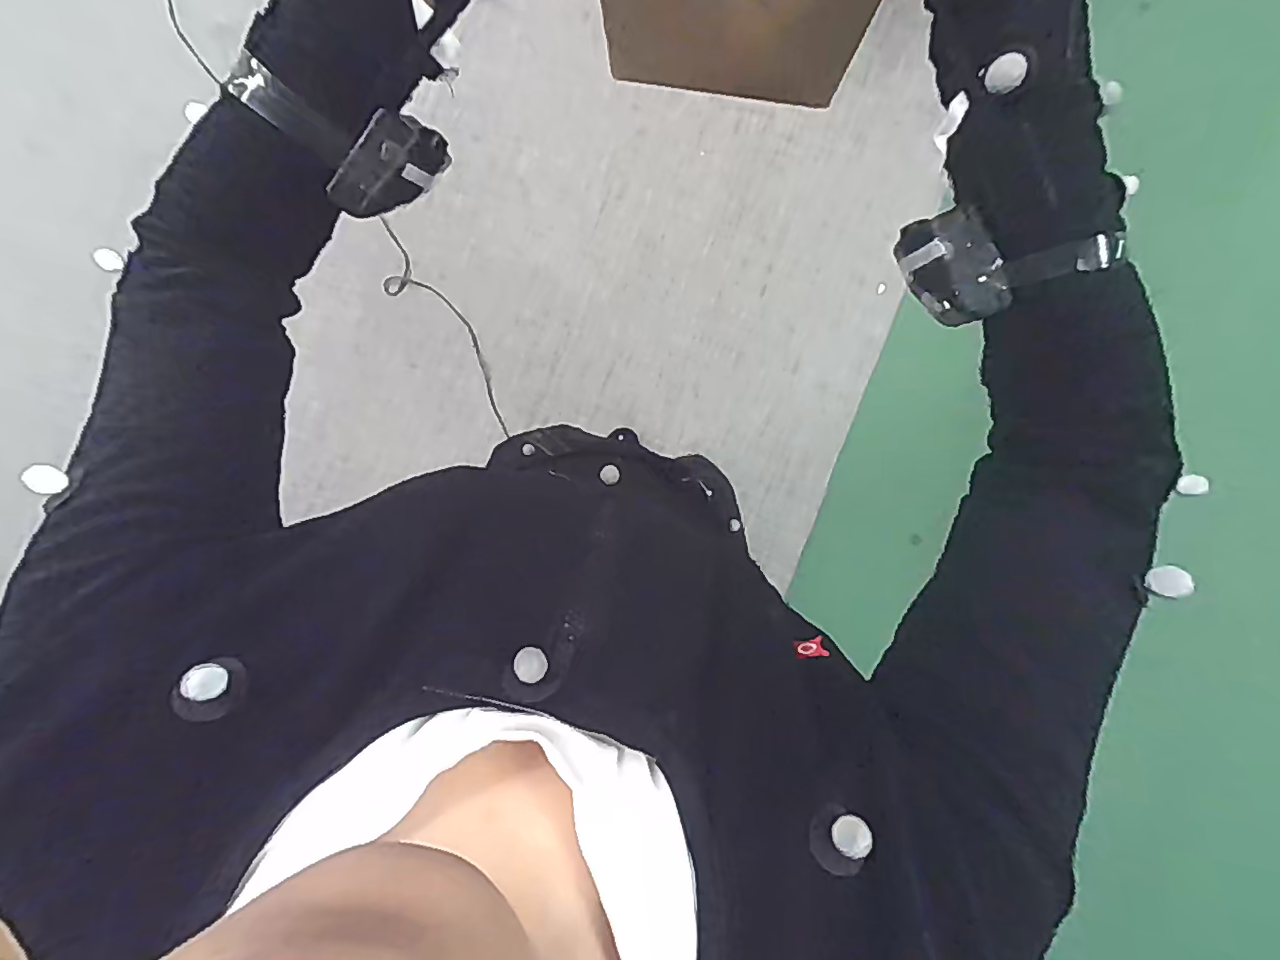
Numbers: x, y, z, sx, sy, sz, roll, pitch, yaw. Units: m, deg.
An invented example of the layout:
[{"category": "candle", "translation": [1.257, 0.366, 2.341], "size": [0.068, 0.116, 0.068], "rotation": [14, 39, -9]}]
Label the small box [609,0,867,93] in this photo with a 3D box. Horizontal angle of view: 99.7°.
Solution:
[{"category": "small box", "translation": [0.072, -0.386, 0.342], "size": [0.179, 0.176, 0.168], "rotation": [9, 95, 2]}]
